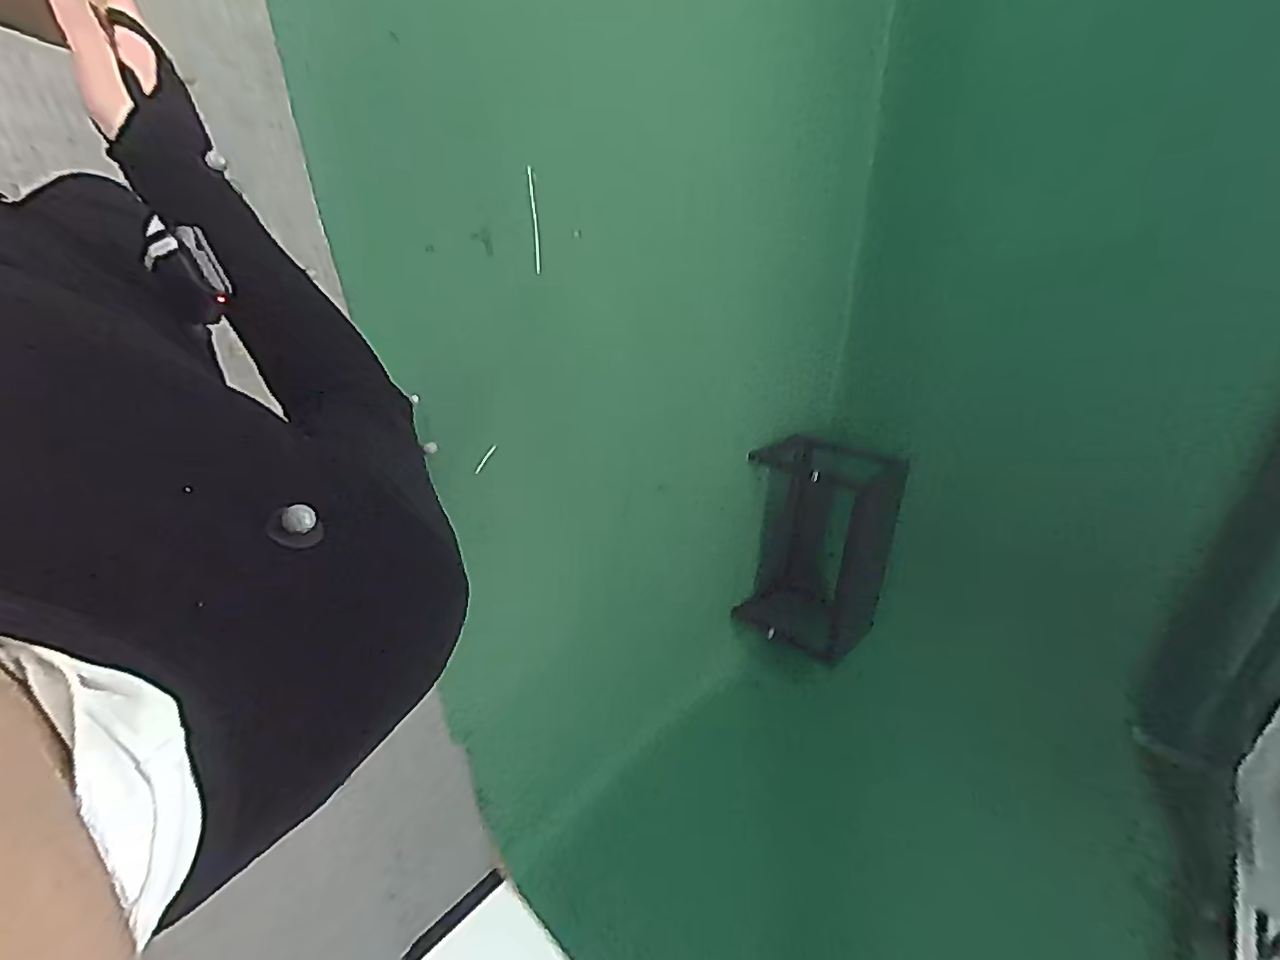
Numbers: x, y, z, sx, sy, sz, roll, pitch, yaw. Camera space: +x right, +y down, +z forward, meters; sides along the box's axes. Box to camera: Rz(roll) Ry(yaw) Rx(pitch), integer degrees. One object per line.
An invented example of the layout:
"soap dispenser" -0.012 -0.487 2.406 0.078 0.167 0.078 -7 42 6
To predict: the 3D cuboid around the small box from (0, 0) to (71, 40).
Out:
"small box" -0.511 -0.440 0.361 0.179 0.176 0.168 -7 112 -48
